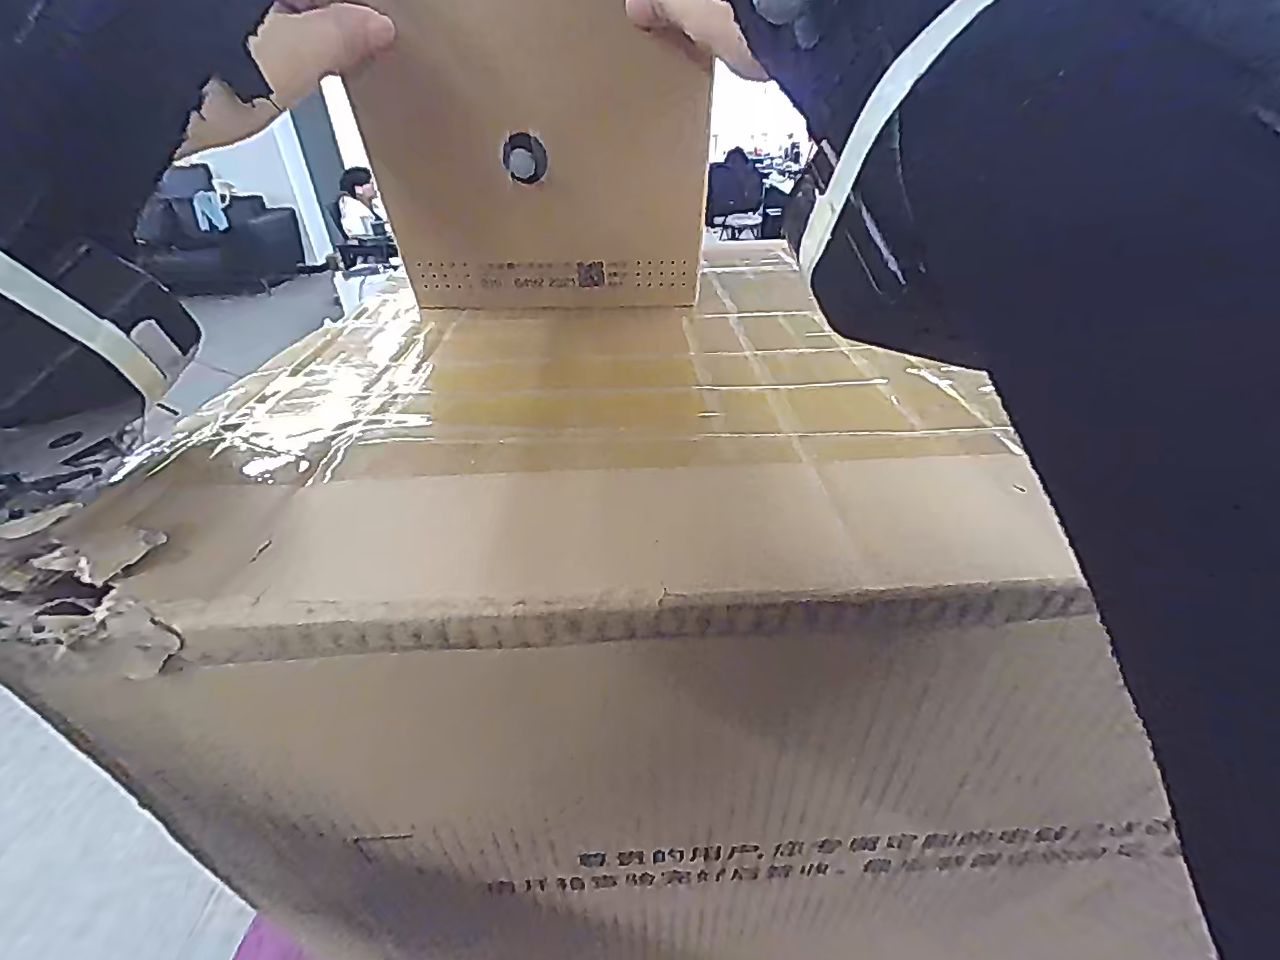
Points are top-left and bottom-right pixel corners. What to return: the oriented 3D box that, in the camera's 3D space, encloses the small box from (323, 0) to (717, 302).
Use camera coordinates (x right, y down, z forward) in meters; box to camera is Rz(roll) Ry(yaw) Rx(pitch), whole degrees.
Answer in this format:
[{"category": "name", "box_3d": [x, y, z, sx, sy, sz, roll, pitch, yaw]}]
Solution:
[{"category": "small box", "box_3d": [-0.046, -0.219, 0.316, 0.168, 0.176, 0.179, 0, 47, 0]}]
